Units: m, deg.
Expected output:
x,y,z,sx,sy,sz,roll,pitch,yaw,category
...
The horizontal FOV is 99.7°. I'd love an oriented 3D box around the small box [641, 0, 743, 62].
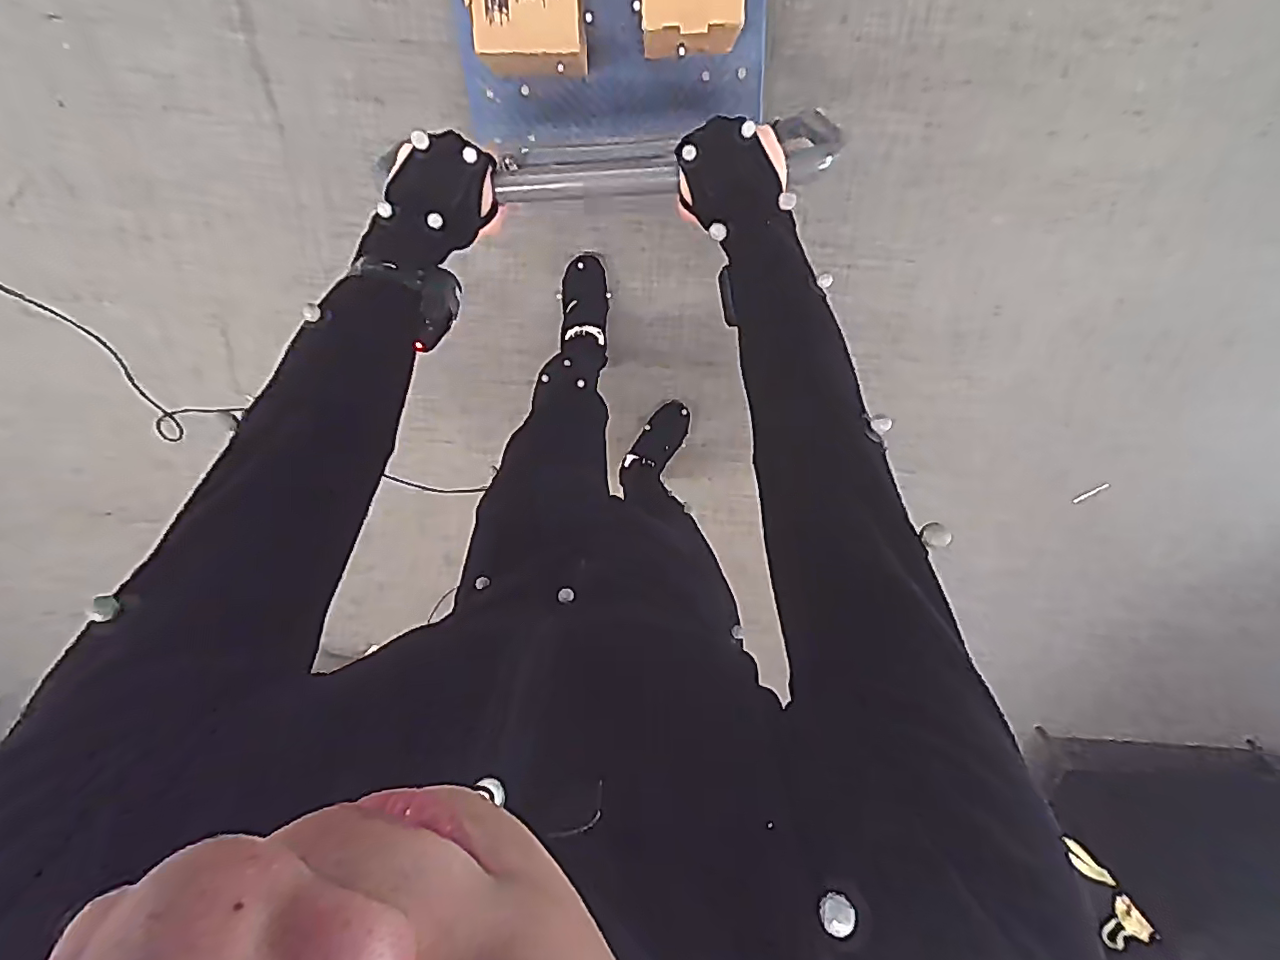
x,y,z,sx,sy,sz,roll,pitch,yaw,category
0.084,-0.853,0.932,0.168,0.176,0.179,-2,116,2,small box
